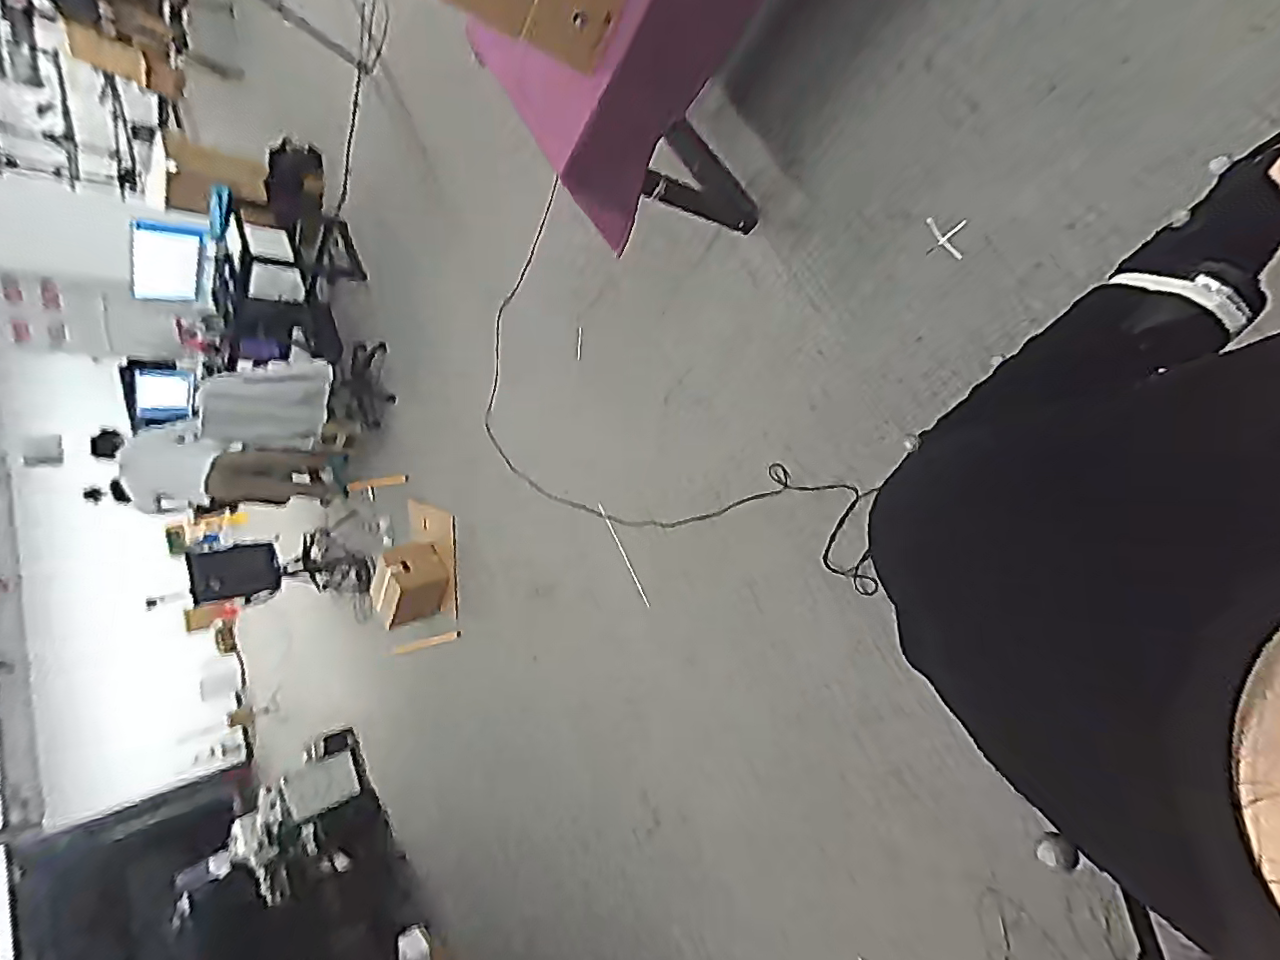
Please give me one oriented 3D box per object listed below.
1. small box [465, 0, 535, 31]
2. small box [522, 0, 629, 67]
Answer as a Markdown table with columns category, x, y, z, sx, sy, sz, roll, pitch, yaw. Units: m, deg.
| category | x | y | z | sx | sy | sz | roll | pitch | yaw |
| --- | --- | --- | --- | --- | --- | --- | --- | --- | --- |
| small box | -0.259 | -0.915 | 0.905 | 0.179 | 0.176 | 0.168 | -45 | 65 | 38 |
| small box | -0.144 | -0.932 | 1.022 | 0.168 | 0.176 | 0.179 | -44 | 65 | 38 |
